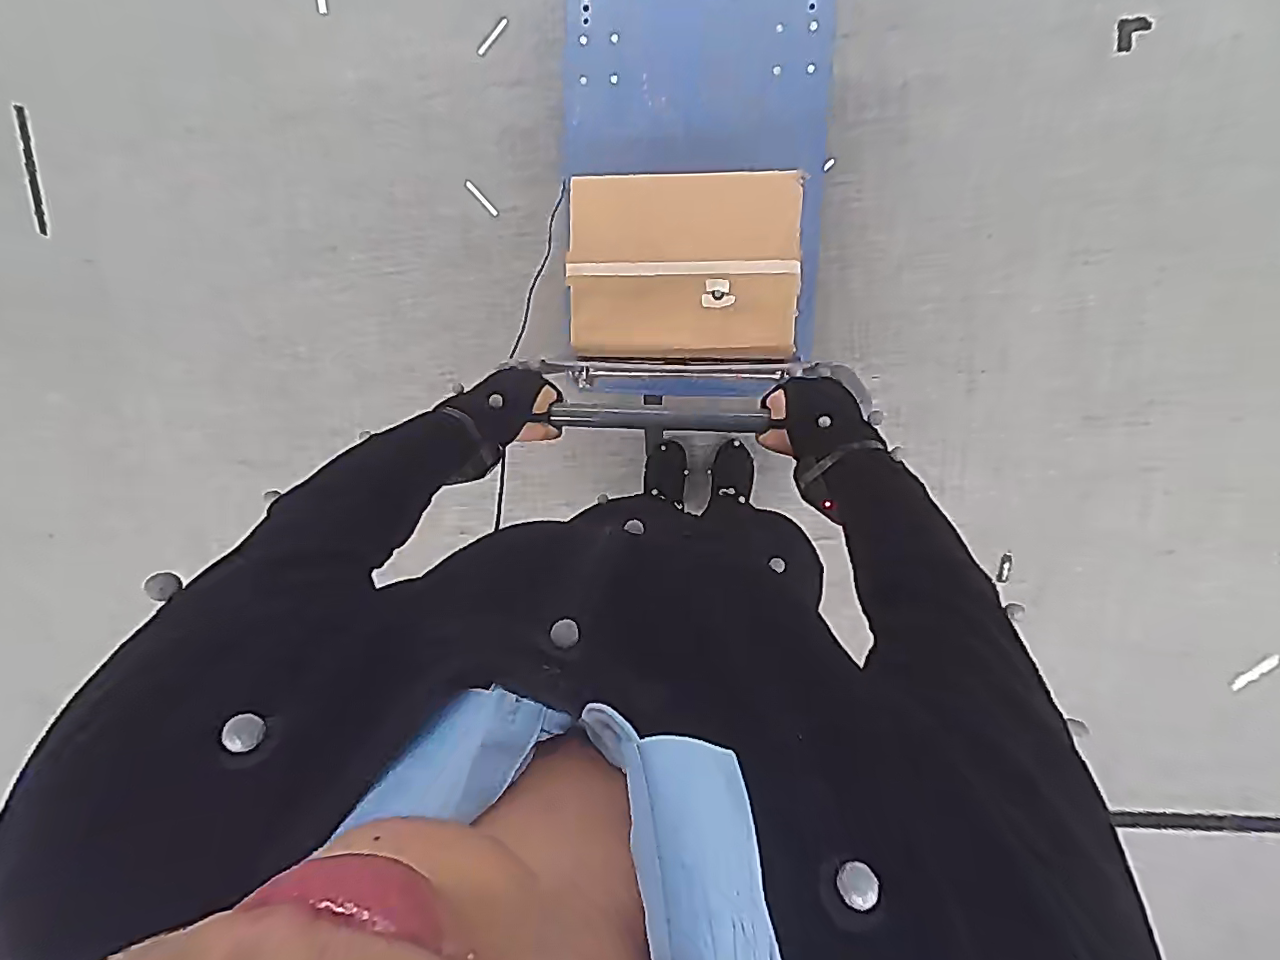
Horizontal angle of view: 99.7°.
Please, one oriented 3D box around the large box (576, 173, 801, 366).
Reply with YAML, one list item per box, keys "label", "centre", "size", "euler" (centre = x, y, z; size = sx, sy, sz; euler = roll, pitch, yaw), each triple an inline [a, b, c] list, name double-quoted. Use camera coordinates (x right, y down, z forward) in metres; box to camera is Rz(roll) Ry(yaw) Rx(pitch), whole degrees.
- label: "large box"
  centre: [0.094, -0.404, 1.120]
  size: [0.408, 0.320, 0.320]
  euler: [2, 100, 6]
